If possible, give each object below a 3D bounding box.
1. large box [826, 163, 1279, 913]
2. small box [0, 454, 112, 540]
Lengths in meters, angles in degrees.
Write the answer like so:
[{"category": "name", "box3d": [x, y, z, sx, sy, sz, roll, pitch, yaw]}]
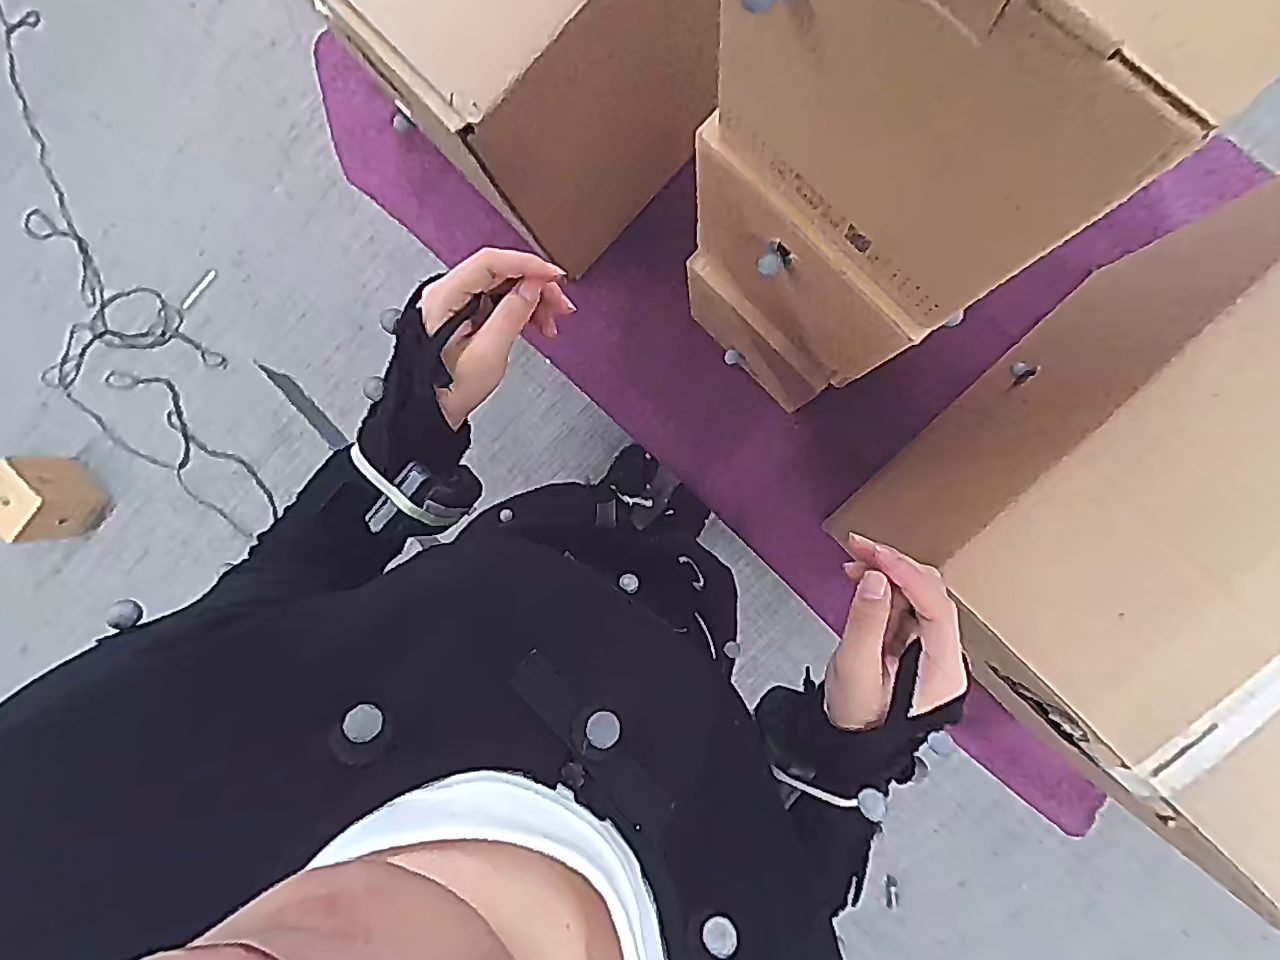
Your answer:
[{"category": "large box", "box3d": [0.431, 0.019, 0.439, 0.408, 0.320, 0.320, -45, 86, 5]}, {"category": "small box", "box3d": [-1.660, 0.040, 1.517, 0.179, 0.176, 0.168, 45, 96, 4]}]
